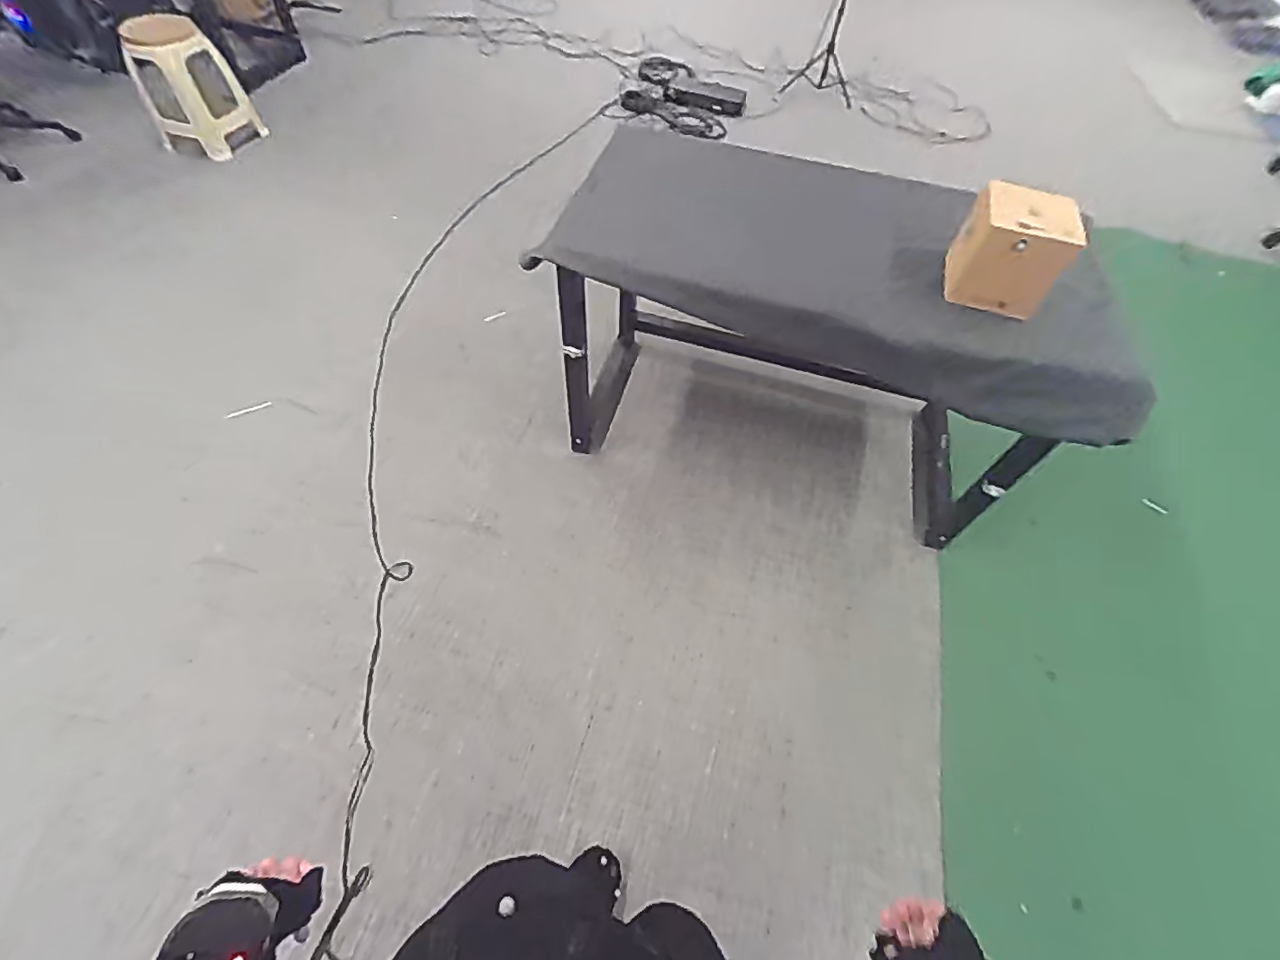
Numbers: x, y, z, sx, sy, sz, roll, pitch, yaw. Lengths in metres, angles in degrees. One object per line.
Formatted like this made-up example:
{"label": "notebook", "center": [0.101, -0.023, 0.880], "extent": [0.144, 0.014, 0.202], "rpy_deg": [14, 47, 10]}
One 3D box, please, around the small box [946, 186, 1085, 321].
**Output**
{"label": "small box", "center": [0.739, -0.452, 1.084], "extent": [0.168, 0.176, 0.179], "rpy_deg": [17, 56, 9]}
